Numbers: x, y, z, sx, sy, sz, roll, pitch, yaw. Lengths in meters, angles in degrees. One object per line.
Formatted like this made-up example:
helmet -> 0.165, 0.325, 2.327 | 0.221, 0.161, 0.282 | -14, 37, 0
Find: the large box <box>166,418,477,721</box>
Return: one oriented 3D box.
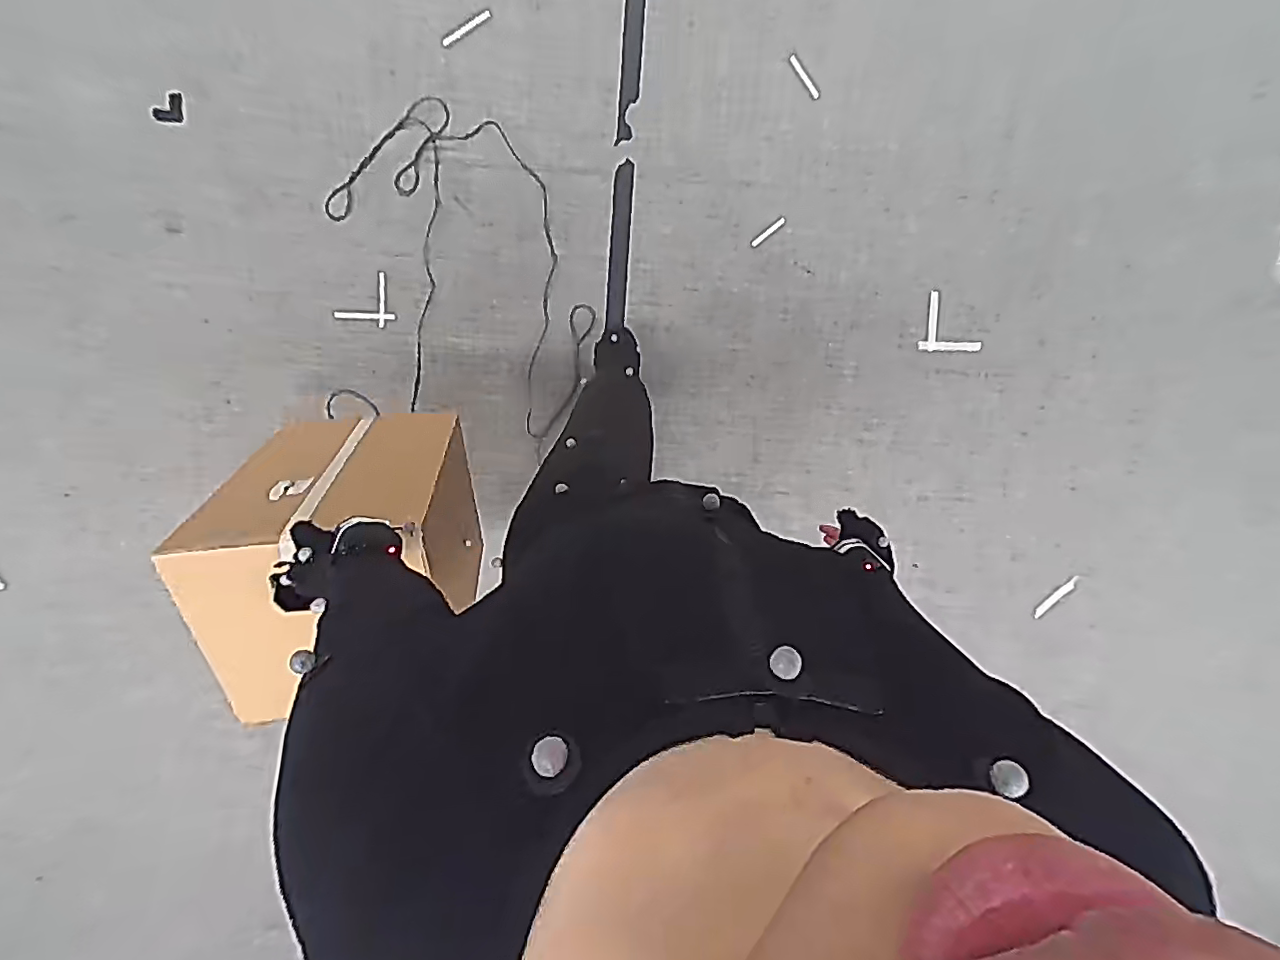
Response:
large box -> -0.465, 0.120, 0.919 | 0.320, 0.408, 0.320 | -7, 120, -8
